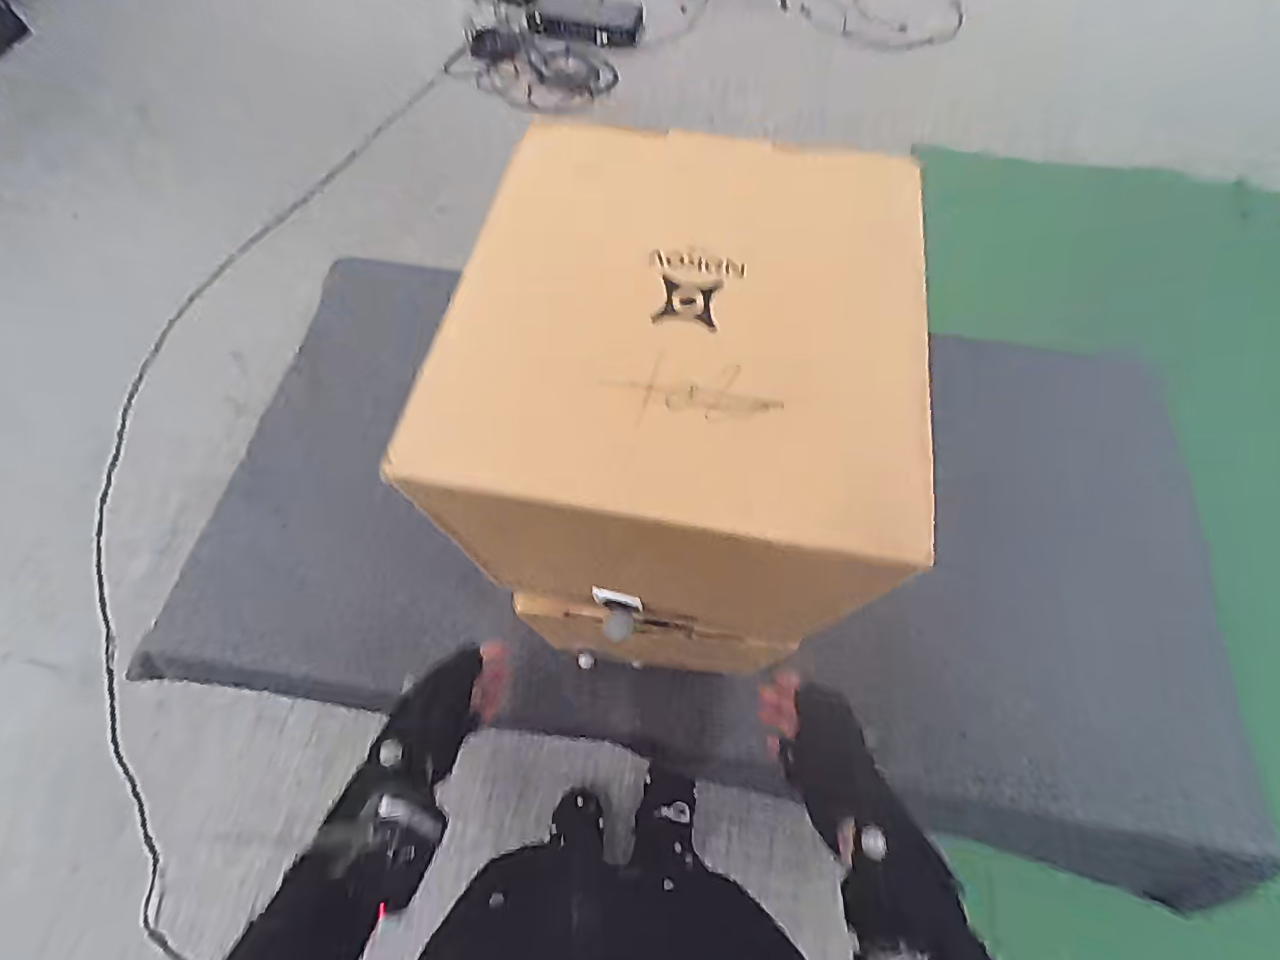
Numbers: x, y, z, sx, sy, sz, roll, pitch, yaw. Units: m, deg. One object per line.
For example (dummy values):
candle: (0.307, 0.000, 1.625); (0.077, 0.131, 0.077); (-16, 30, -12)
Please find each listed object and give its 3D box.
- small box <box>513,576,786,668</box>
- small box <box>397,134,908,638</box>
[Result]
small box: (0.017, 0.040, 0.419); (0.168, 0.176, 0.179); (7, 64, 4)
small box: (0.016, -0.032, 0.274); (0.168, 0.176, 0.179); (8, 66, 6)
